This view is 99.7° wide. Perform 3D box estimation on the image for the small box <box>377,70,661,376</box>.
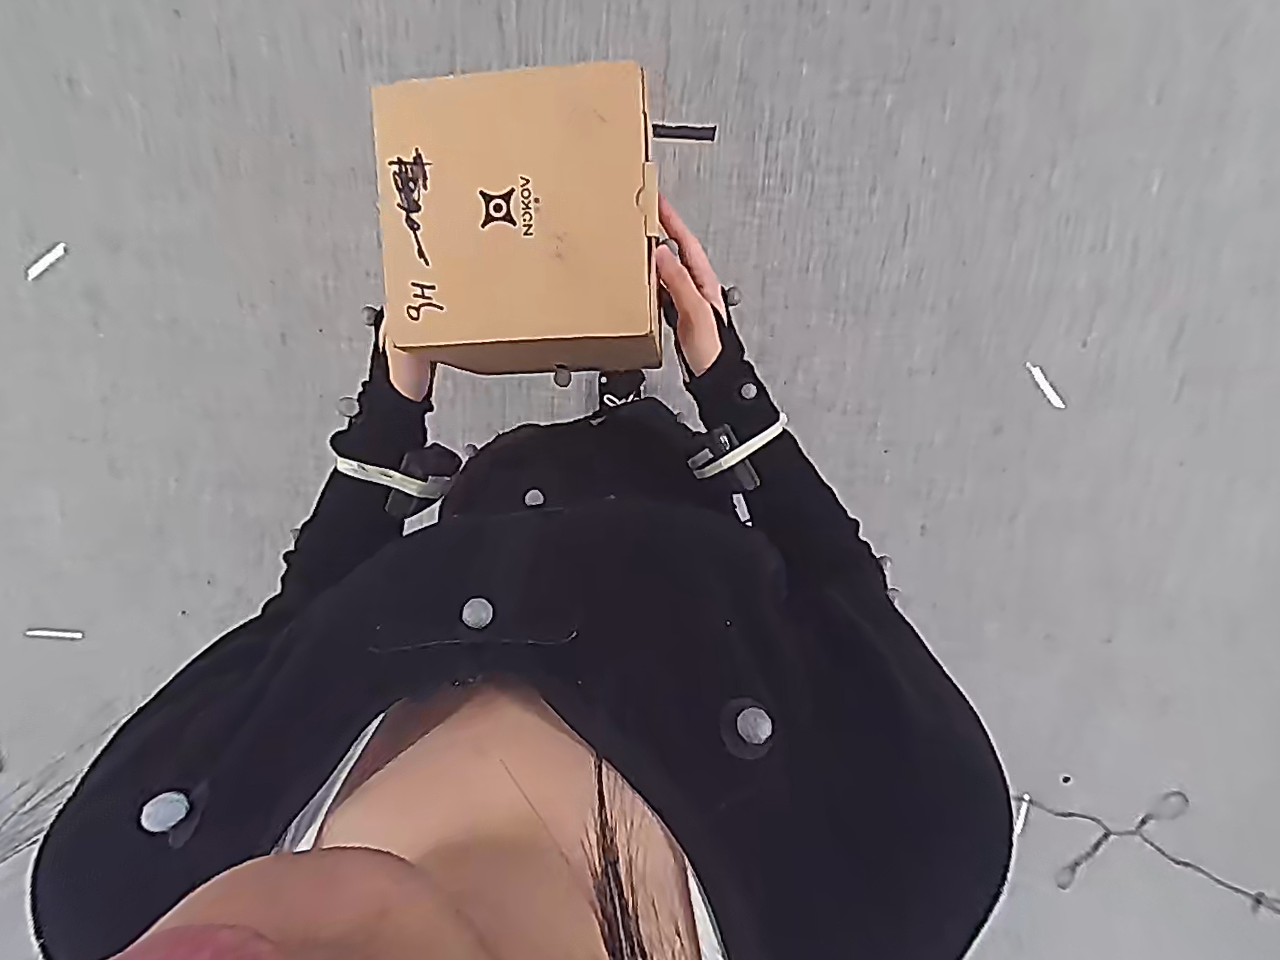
[{"bbox_3d":[-0.073,-0.174,0.422,0.179,0.176,0.168,-2,94,4],"label":"small box"}]
